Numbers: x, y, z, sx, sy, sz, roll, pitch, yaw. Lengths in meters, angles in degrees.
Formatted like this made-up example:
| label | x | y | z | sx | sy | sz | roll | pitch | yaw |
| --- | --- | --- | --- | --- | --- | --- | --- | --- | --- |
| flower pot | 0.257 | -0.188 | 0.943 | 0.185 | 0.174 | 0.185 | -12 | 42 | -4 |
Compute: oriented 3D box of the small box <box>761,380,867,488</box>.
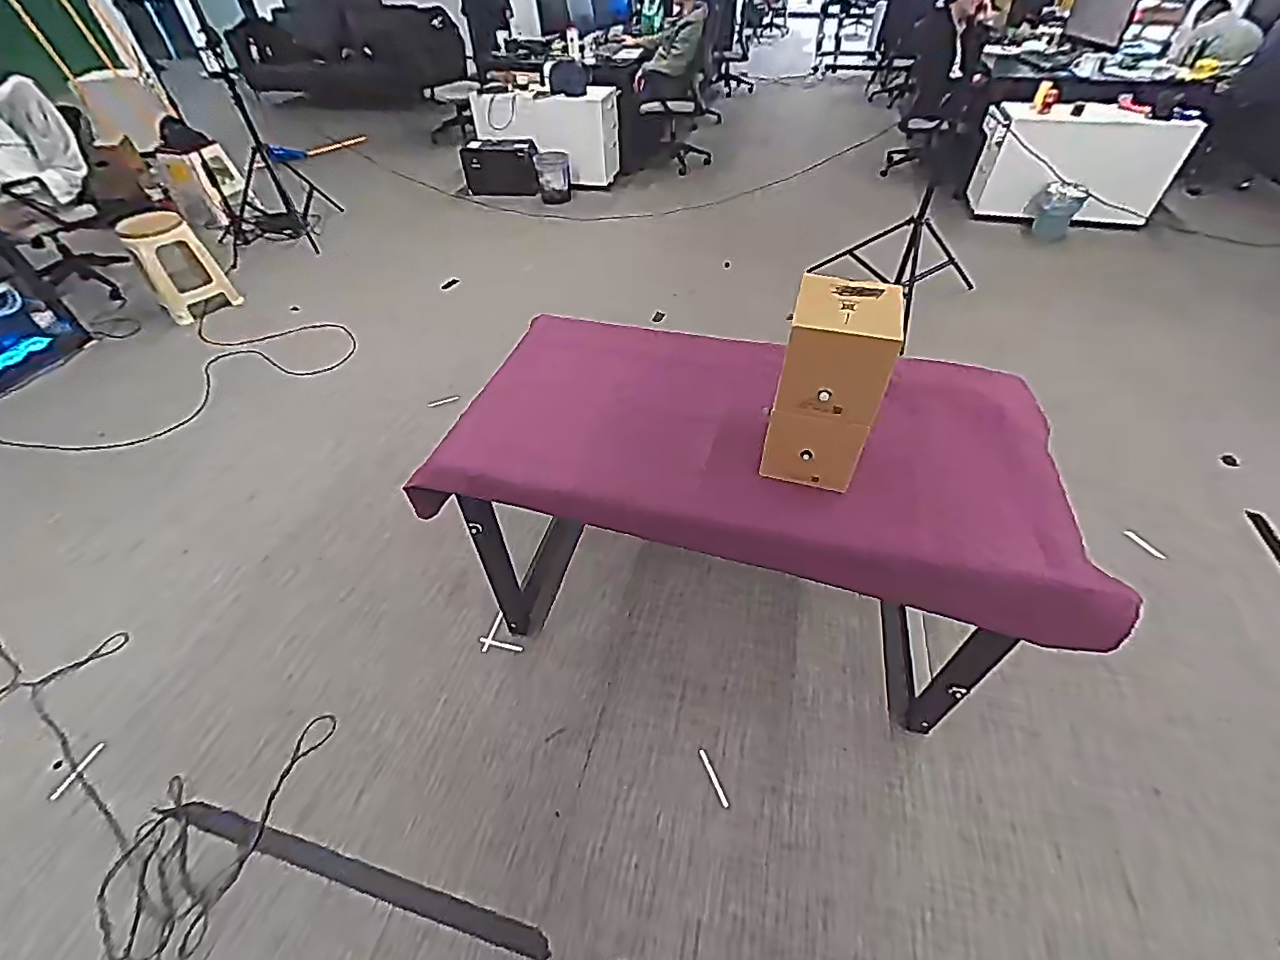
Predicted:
| label | x | y | z | sx | sy | sz | roll | pitch | yaw |
| --- | --- | --- | --- | --- | --- | --- | --- | --- | --- |
| small box | 0.334 | -0.108 | 1.042 | 0.168 | 0.176 | 0.179 | 13 | 48 | 13 |

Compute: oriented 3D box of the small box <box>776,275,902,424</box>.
| label | x | y | z | sx | sy | sz | roll | pitch | yaw |
| --- | --- | --- | --- | --- | --- | --- | --- | --- | --- |
| small box | 0.336 | -0.224 | 0.926 | 0.168 | 0.176 | 0.179 | 12 | 48 | 13 |
